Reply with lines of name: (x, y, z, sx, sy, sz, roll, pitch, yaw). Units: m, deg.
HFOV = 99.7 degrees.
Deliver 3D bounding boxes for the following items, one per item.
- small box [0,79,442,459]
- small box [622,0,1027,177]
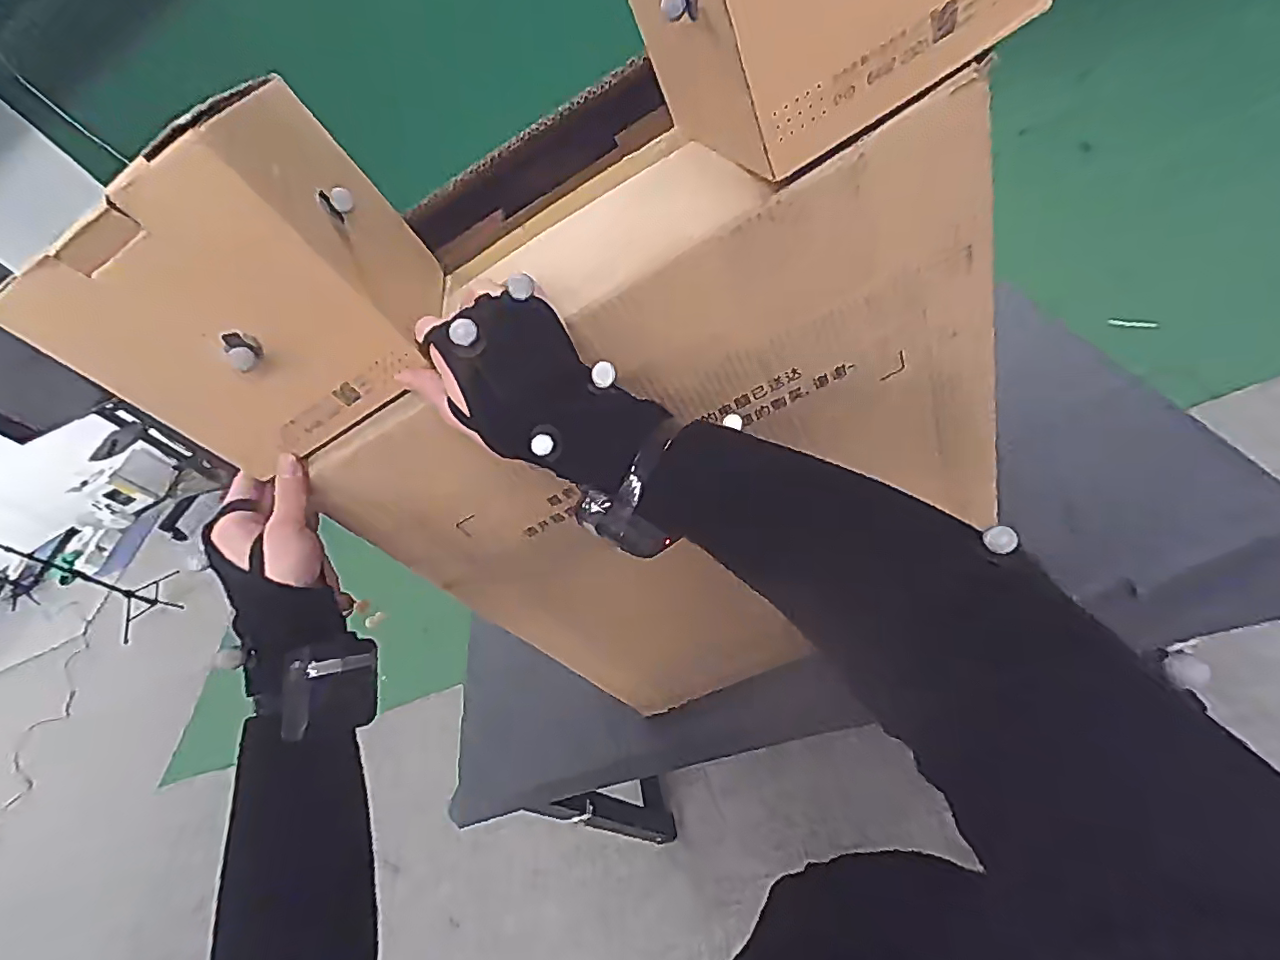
small box: (-0.265, -0.138, 0.390, 0.168, 0.176, 0.179, -29, 45, 10)
small box: (0.084, -0.302, 0.299, 0.168, 0.176, 0.179, -29, 43, 6)
